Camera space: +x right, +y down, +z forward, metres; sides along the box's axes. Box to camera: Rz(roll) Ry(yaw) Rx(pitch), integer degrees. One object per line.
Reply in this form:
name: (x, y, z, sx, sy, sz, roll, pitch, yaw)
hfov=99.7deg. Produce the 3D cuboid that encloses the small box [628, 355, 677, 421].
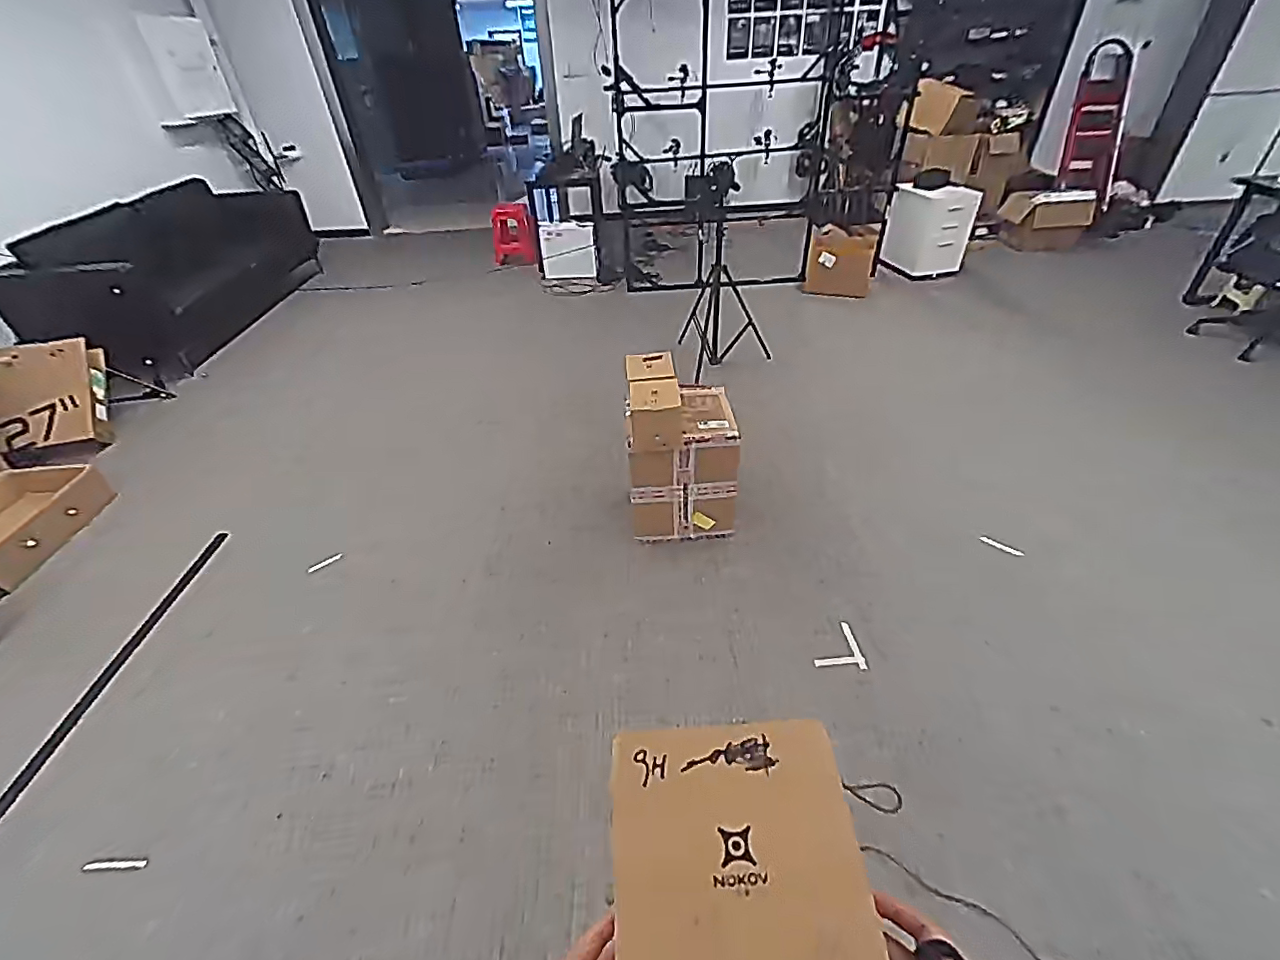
small box: (0.043, -0.333, 1.966, 0.168, 0.176, 0.179, -6, 41, 1)
